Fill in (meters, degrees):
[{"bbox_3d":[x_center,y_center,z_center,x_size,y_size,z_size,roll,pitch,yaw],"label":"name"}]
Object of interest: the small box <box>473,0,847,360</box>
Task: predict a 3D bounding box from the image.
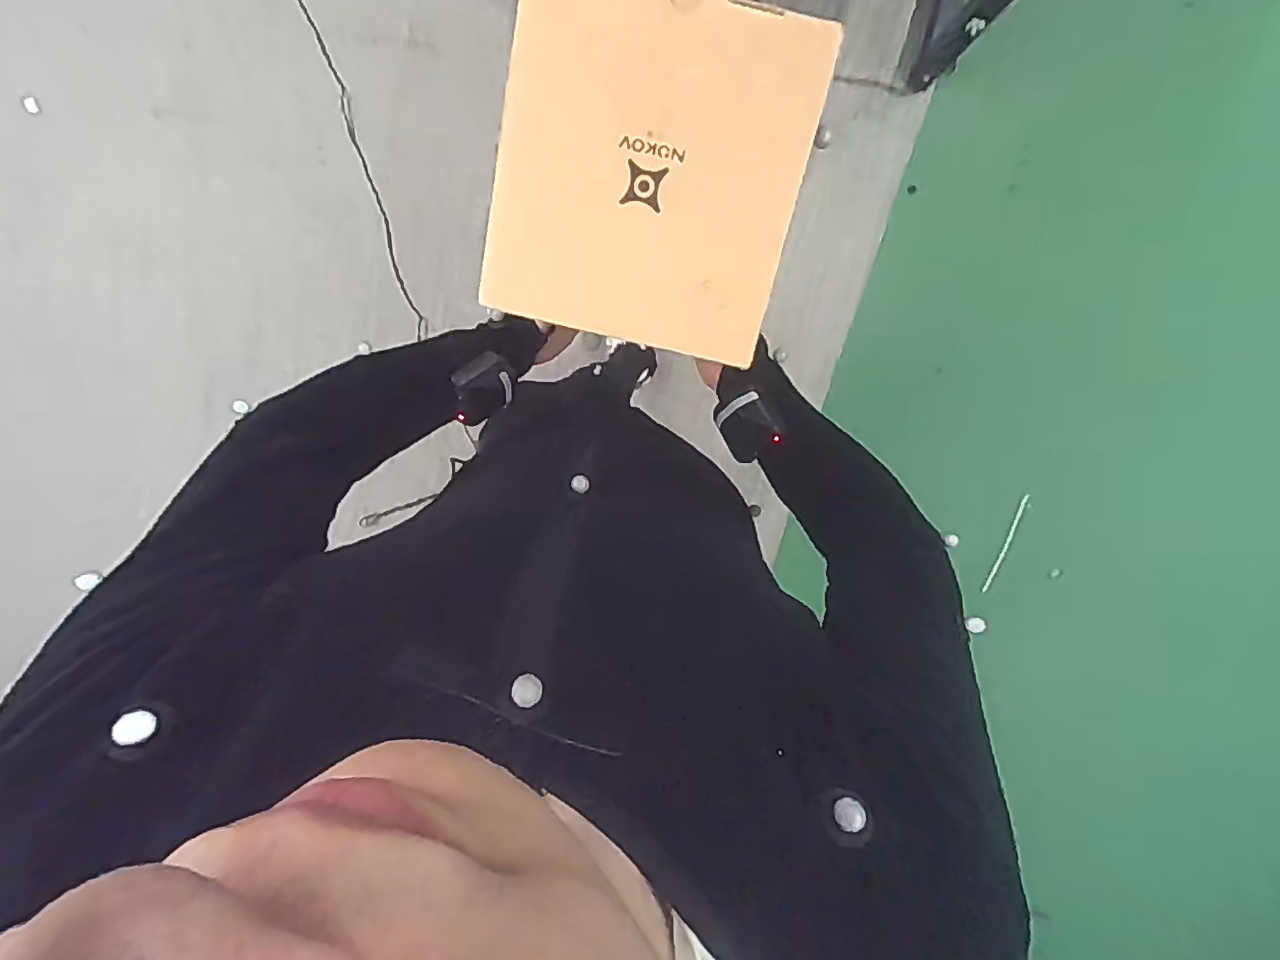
[{"bbox_3d":[0.008,-0.188,0.358,0.168,0.176,0.179,13,106,0],"label":"small box"}]
